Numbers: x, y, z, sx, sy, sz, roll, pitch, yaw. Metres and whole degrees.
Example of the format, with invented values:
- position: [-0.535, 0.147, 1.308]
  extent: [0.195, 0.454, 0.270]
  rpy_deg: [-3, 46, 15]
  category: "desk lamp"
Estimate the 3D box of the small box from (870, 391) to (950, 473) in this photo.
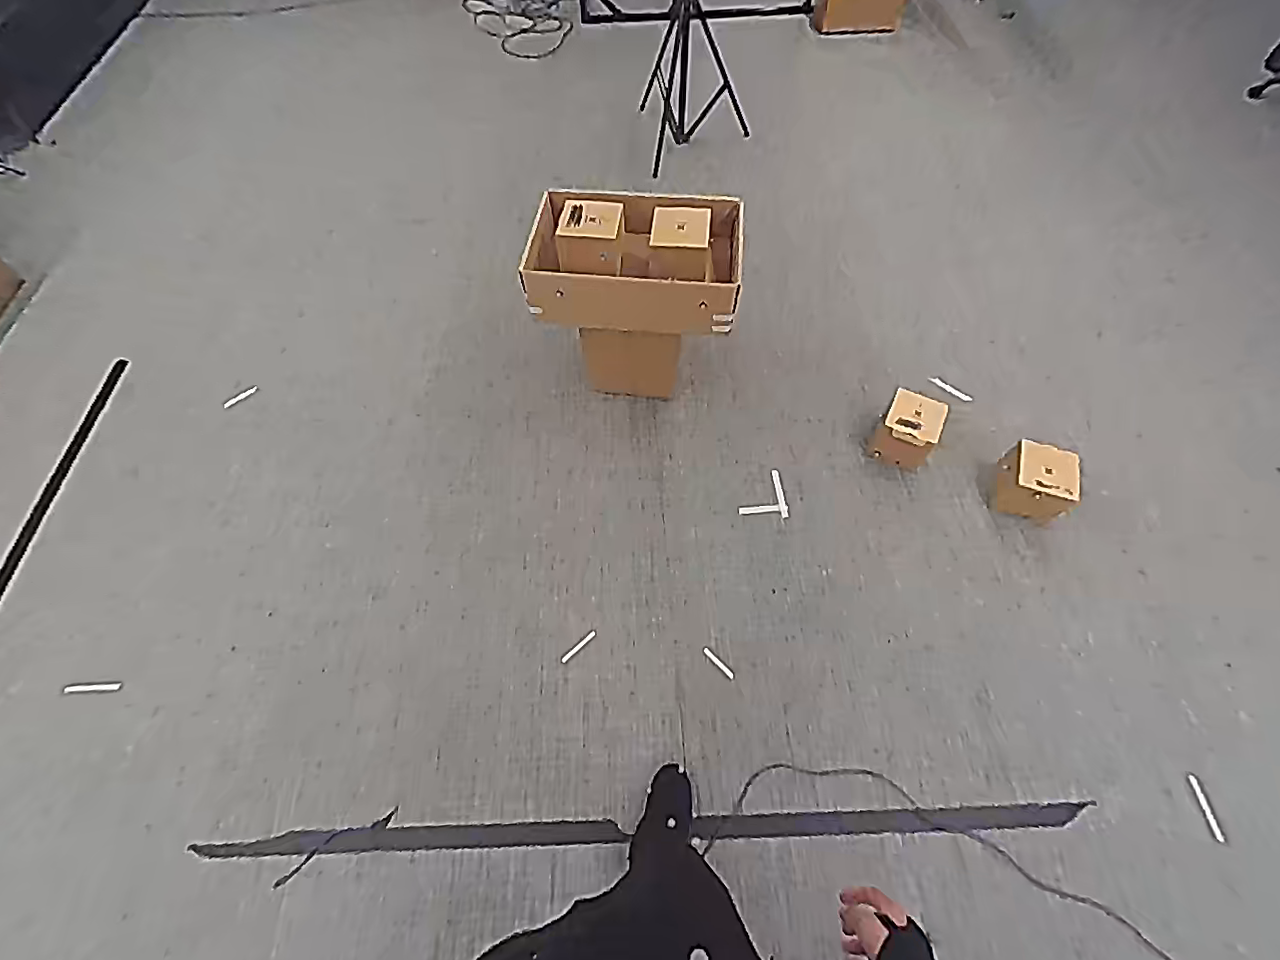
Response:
- position: [0.880, -0.153, 1.779]
  extent: [0.168, 0.176, 0.179]
  rpy_deg: [25, 64, 15]
  category: "small box"

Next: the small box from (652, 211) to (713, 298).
- position: [0.124, -0.670, 1.611]
  extent: [0.168, 0.176, 0.179]
  rpy_deg: [4, 59, 5]
  category: "small box"

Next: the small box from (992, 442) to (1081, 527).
- position: [1.221, 0.017, 1.673]
  extent: [0.168, 0.176, 0.179]
  rpy_deg: [19, 61, 12]
  category: "small box"
